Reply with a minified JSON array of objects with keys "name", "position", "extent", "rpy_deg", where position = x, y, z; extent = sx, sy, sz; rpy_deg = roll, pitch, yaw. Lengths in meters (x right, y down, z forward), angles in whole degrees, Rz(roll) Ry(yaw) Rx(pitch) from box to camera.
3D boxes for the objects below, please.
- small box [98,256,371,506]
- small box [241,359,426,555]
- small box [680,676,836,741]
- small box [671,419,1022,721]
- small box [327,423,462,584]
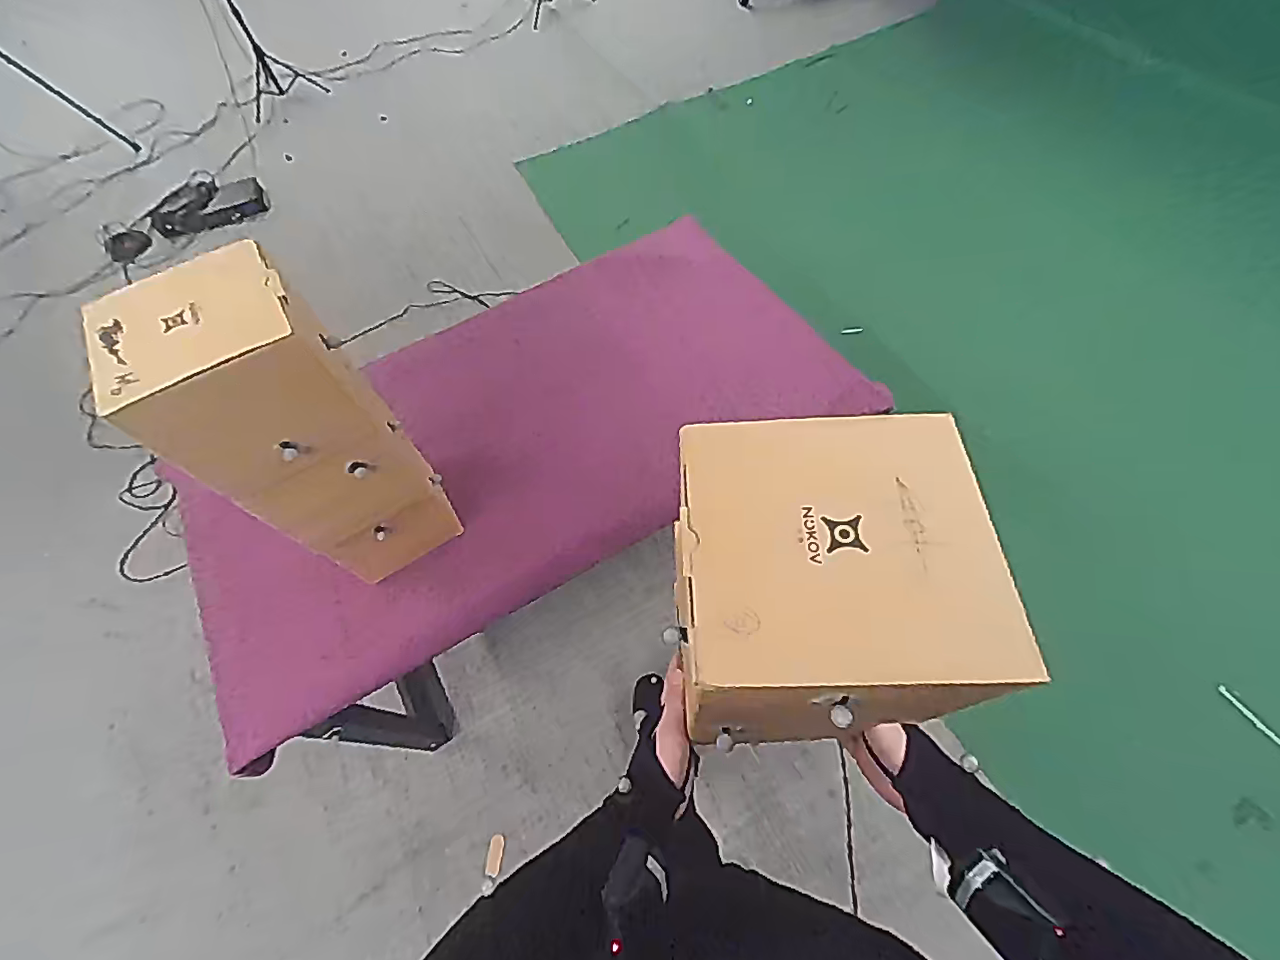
[{"name":"small box","position":[-0.428,-0.103,0.599],"extent":[0.179,0.176,0.168],"rpy_deg":[-30,63,-12]},{"name":"small box","position":[-0.419,-0.027,0.744],"extent":[0.179,0.176,0.168],"rpy_deg":[-30,63,-11]},{"name":"small box","position":[0.138,0.226,0.675],"extent":[0.179,0.176,0.168],"rpy_deg":[-4,59,3]},{"name":"small box","position":[0.114,0.074,0.385],"extent":[0.179,0.176,0.168],"rpy_deg":[-2,60,4]},{"name":"small box","position":[-0.417,0.043,0.894],"extent":[0.179,0.176,0.168],"rpy_deg":[-31,64,-11]}]
